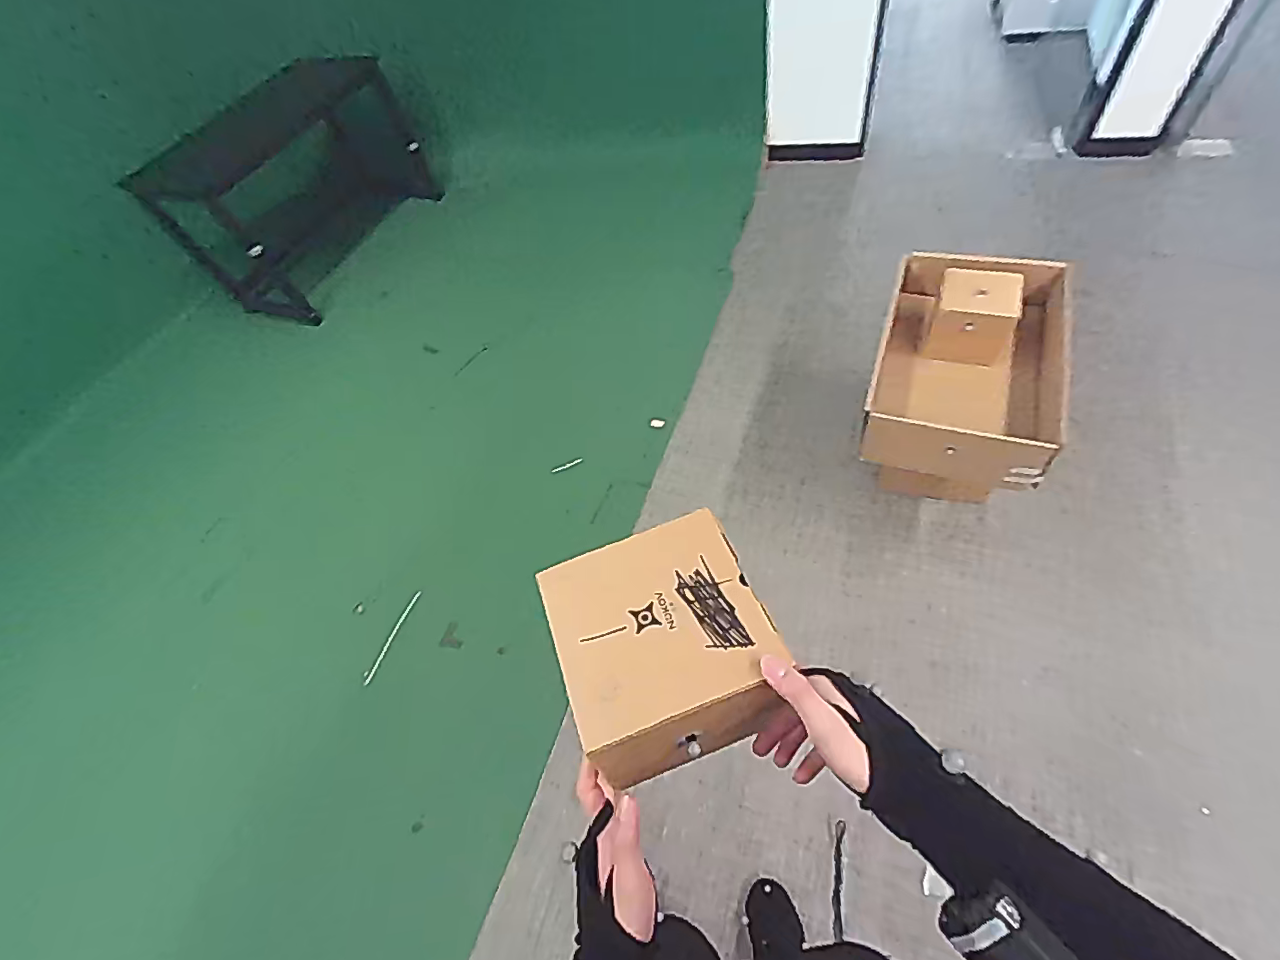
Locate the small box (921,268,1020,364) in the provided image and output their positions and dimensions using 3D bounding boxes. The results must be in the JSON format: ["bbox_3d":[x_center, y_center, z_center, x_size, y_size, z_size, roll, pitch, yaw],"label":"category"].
[{"bbox_3d":[0.861,-0.426,1.417,0.179,0.176,0.168,13,61,20],"label":"small box"}]

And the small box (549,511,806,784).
[{"bbox_3d":[0.031,0.162,0.512,0.179,0.176,0.168,-19,52,-6],"label":"small box"}]
